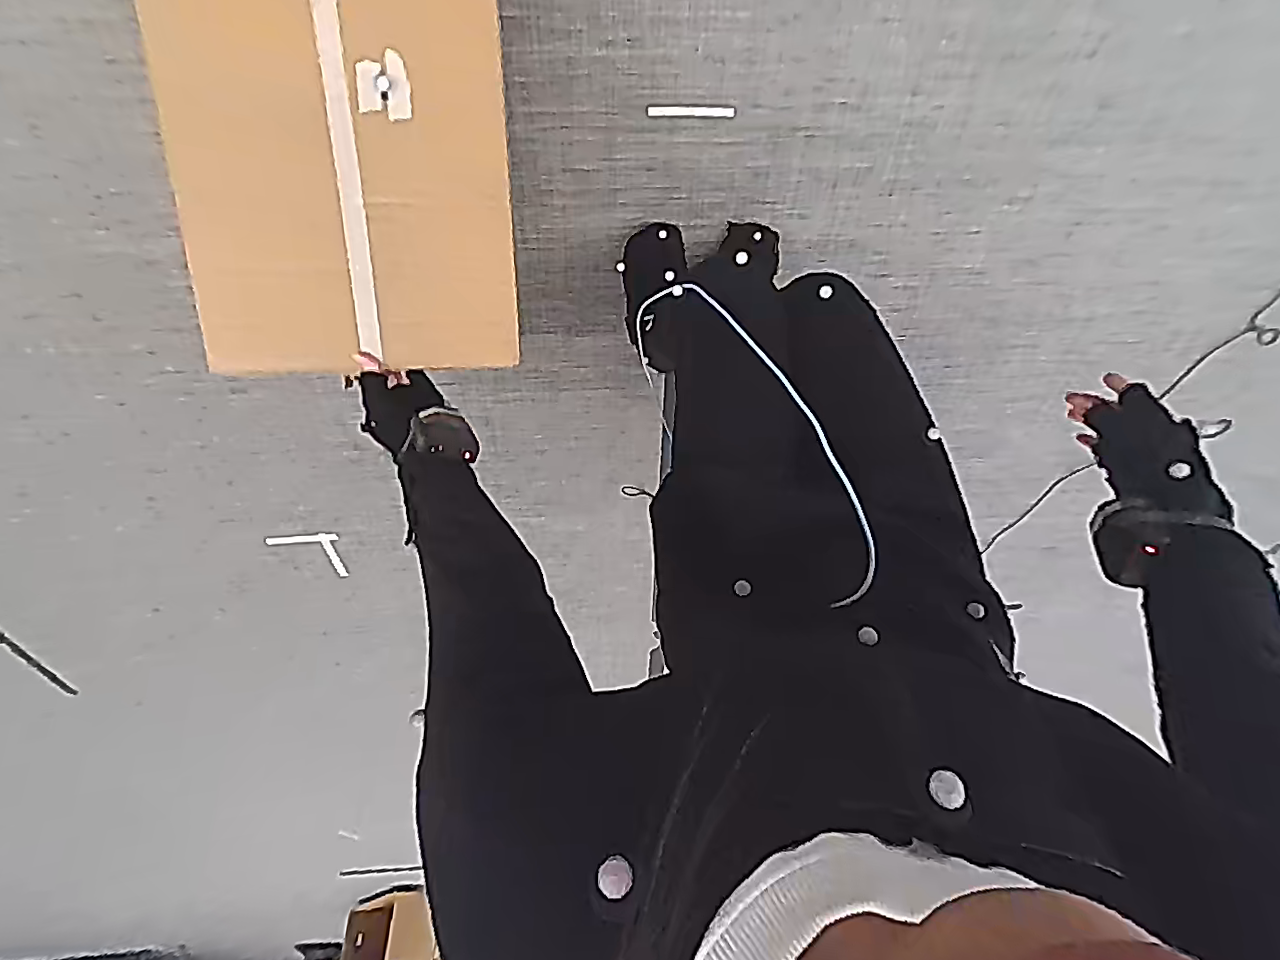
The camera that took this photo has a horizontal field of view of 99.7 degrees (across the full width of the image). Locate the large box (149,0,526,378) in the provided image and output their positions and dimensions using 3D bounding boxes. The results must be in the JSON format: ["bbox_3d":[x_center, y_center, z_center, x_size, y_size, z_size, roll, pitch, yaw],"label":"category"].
[{"bbox_3d":[-0.322,-0.347,0.697,0.320,0.320,0.408,-5,103,-12],"label":"large box"}]
